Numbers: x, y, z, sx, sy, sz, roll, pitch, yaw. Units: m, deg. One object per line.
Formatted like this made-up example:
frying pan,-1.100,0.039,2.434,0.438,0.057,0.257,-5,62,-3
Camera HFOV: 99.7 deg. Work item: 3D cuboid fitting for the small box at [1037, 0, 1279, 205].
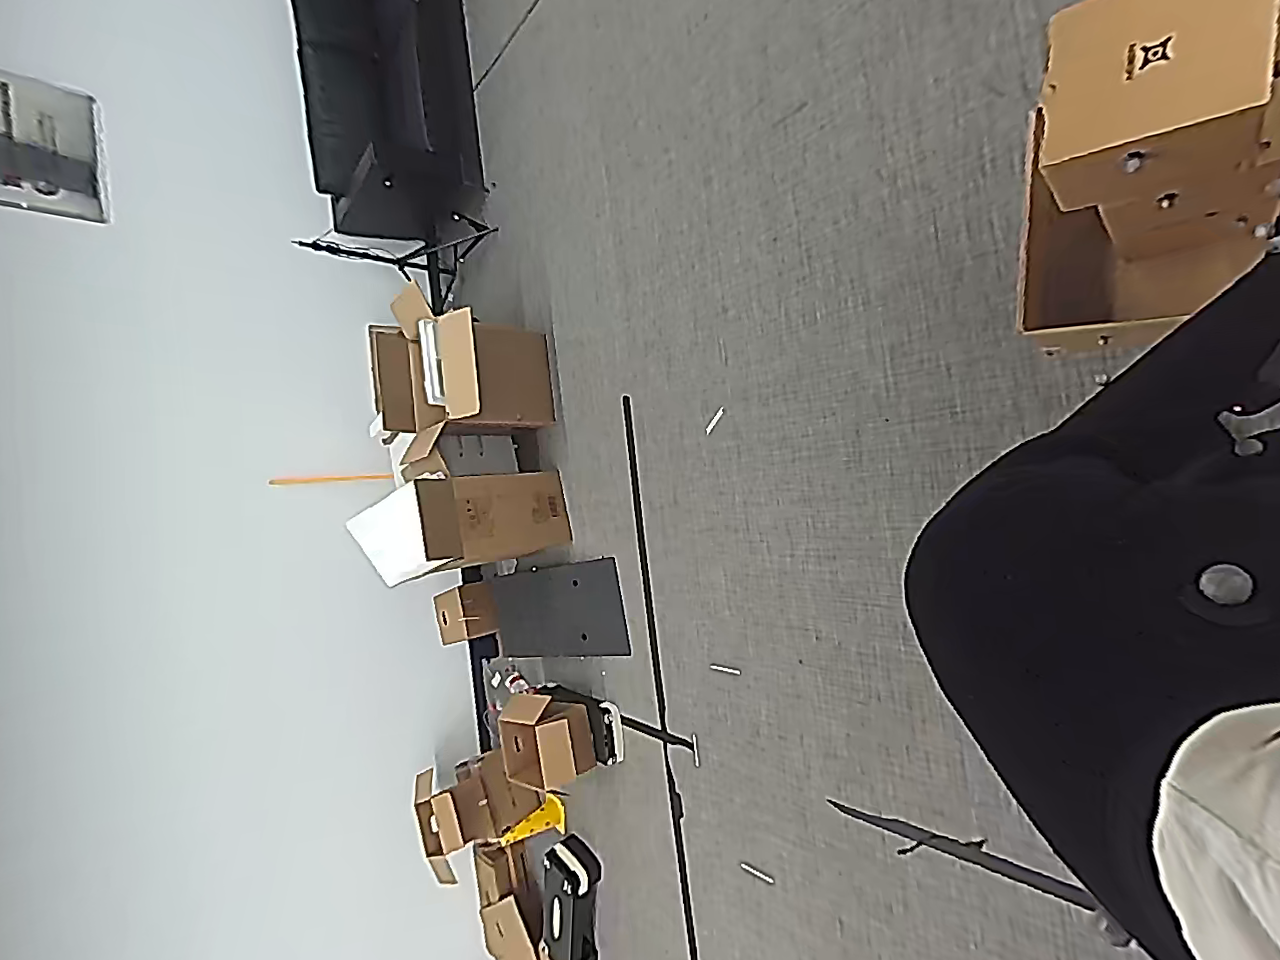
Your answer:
small box,0.571,-0.434,0.601,0.179,0.176,0.168,6,97,47

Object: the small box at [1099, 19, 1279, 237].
small box,0.707,-0.441,0.694,0.168,0.176,0.179,1,93,47
